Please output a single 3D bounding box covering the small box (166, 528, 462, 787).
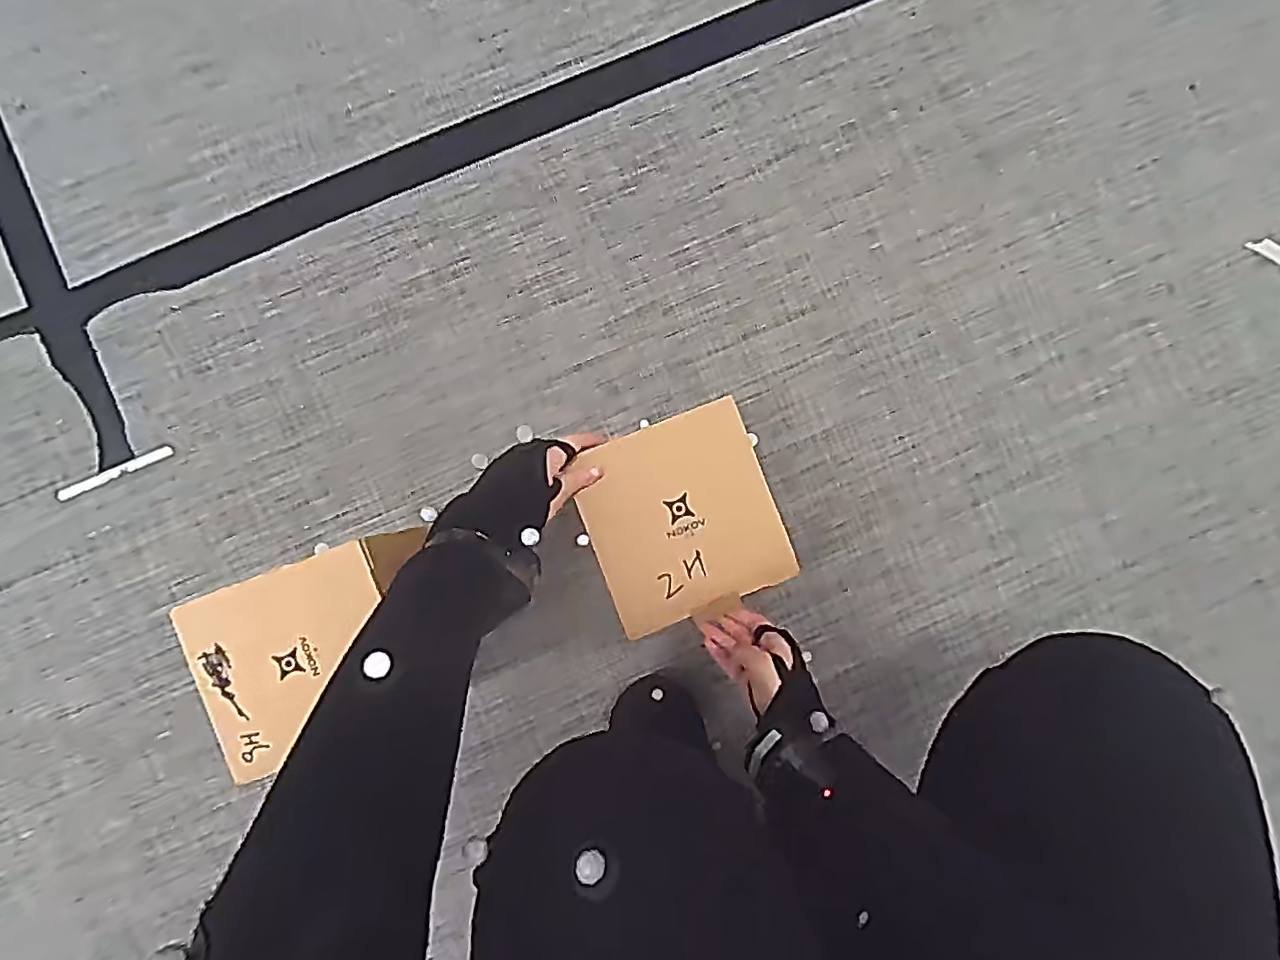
[{"bbox_3d":[-0.294,0.154,0.537,0.179,0.176,0.168,-21,90,-3],"label":"small box"}]

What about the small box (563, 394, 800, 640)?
[{"bbox_3d":[0.033,0.033,0.550,0.168,0.176,0.179,-21,91,-2],"label":"small box"}]
